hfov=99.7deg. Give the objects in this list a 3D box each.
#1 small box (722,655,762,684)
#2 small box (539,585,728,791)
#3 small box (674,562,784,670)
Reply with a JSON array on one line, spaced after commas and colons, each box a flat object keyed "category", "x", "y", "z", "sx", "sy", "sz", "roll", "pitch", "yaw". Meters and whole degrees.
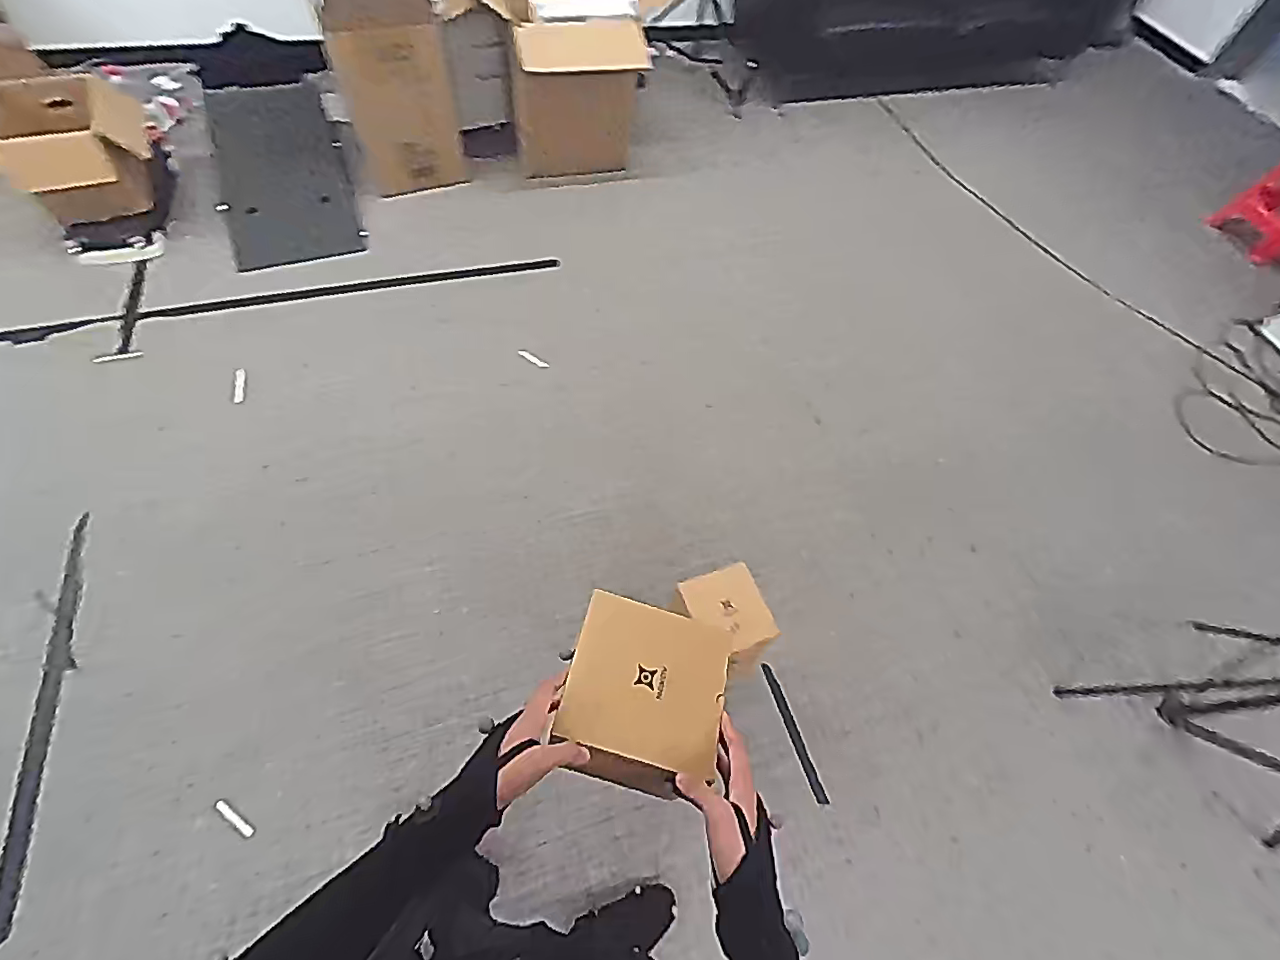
[{"category": "small box", "x": 0.174, "y": 0.407, "z": 1.330, "sx": 0.179, "sy": 0.176, "sz": 0.168, "roll": -9, "pitch": 60, "yaw": -11}, {"category": "small box", "x": -0.012, "y": 0.253, "z": 0.641, "sx": 0.179, "sy": 0.176, "sz": 0.168, "roll": 17, "pitch": 52, "yaw": -3}, {"category": "small box", "x": 0.184, "y": 0.311, "z": 1.197, "sx": 0.168, "sy": 0.176, "sz": 0.179, "roll": -15, "pitch": 62, "yaw": -15}]
